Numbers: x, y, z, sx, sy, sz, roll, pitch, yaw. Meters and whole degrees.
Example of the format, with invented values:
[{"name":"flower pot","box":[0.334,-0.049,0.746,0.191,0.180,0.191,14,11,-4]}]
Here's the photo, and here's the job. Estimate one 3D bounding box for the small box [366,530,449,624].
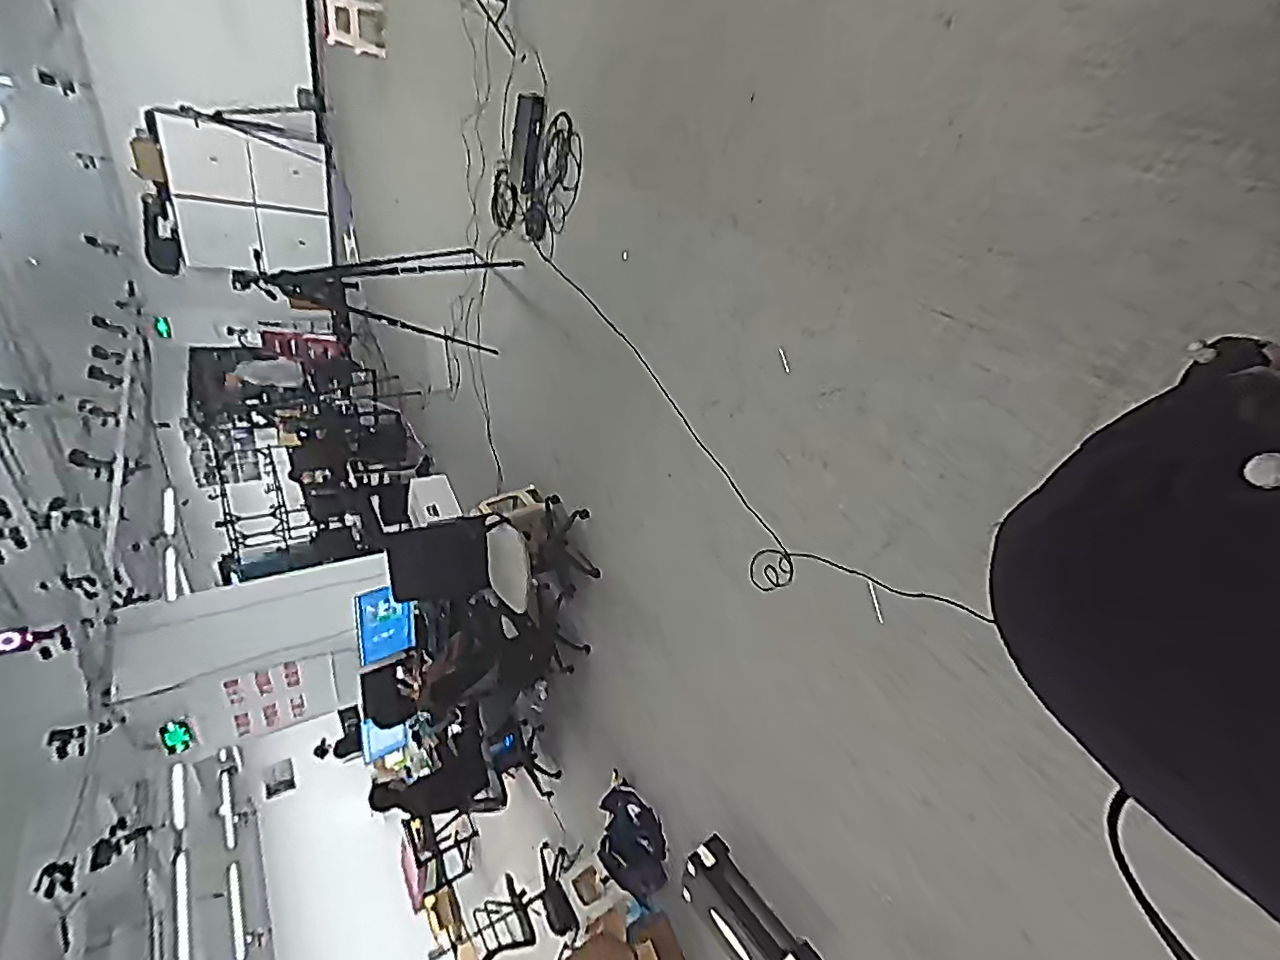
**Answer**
[{"name":"small box","box":[-0.645,0.259,1.501,0.168,0.176,0.179,-19,146,-33]}]
